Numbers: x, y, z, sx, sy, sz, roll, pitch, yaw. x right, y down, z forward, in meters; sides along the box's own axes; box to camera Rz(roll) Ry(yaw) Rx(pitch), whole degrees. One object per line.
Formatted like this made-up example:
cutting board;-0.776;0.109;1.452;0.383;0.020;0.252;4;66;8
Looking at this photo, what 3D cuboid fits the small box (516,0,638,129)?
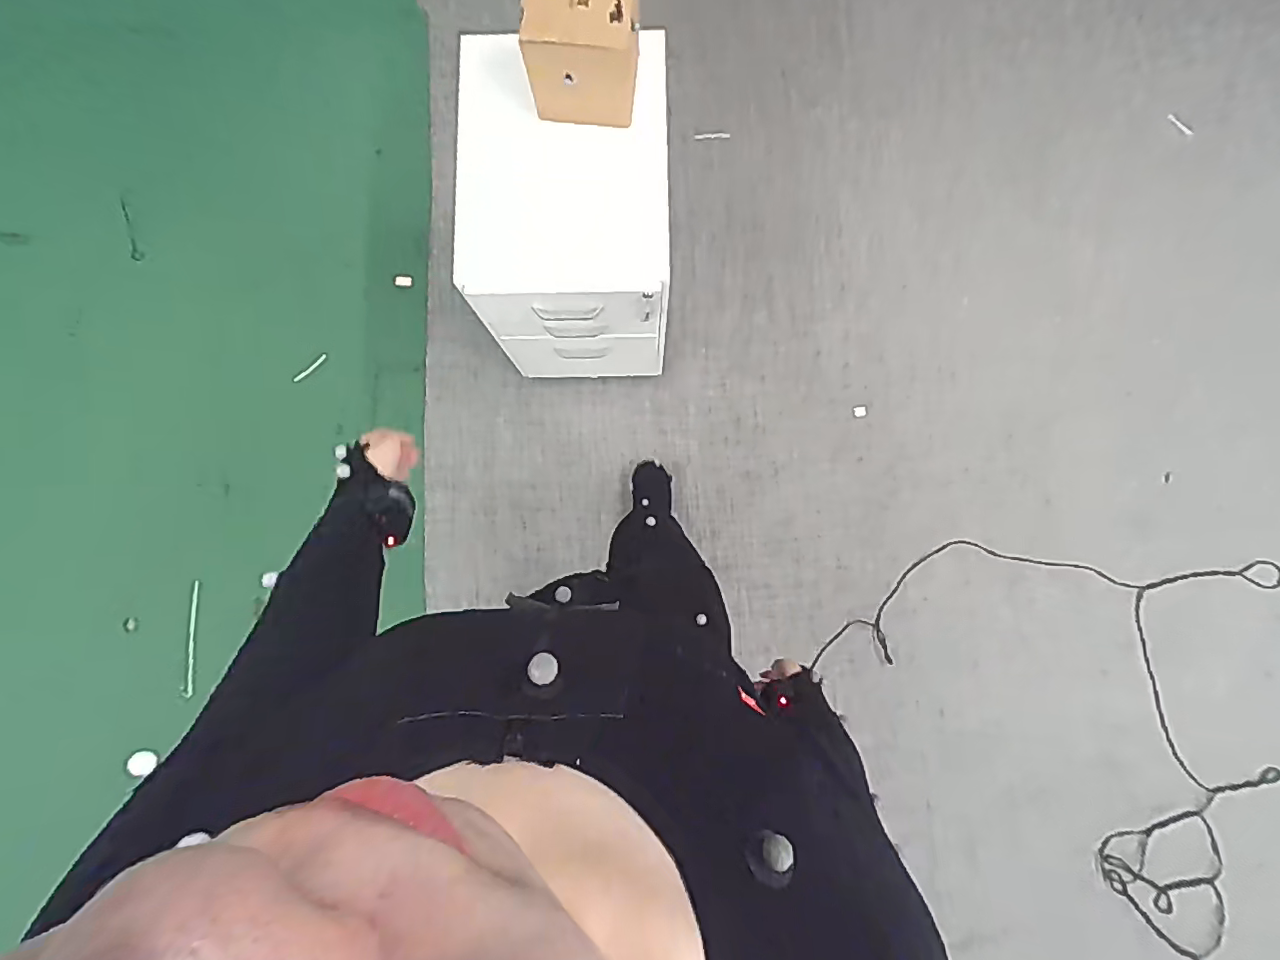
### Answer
small box;-0.100;-0.752;0.945;0.179;0.176;0.168;6;84;2
